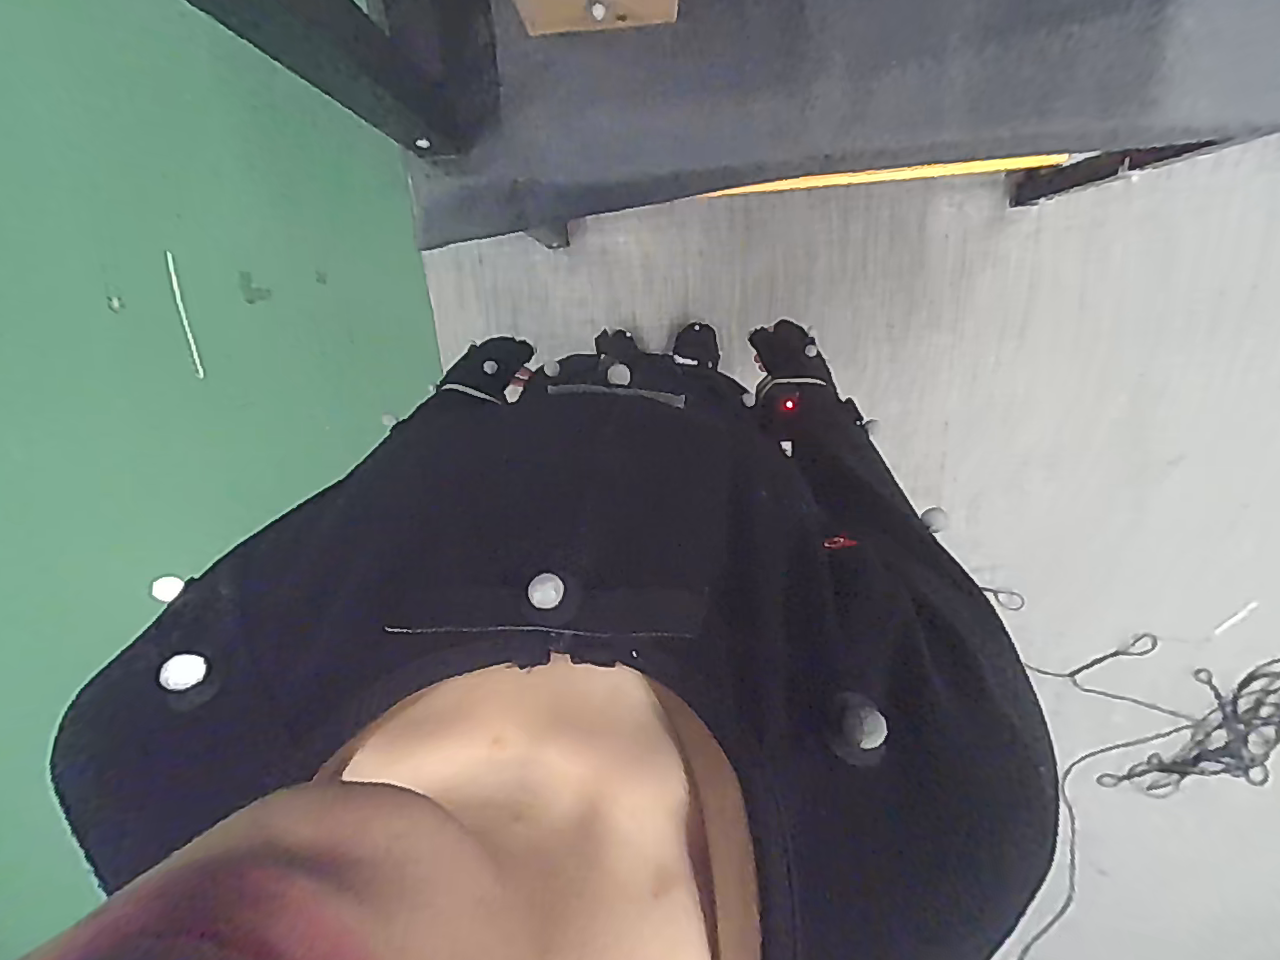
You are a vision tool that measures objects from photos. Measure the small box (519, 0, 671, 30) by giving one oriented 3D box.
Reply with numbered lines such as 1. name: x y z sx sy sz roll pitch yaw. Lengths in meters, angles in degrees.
1. small box: -0.055 -0.558 0.488 0.168 0.176 0.179 -4 106 3

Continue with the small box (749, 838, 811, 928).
1. small box: 0.459 1.327 1.786 0.168 0.176 0.179 -7 105 3

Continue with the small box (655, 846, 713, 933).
1. small box: 0.144 1.358 1.806 0.168 0.176 0.179 -11 106 6
